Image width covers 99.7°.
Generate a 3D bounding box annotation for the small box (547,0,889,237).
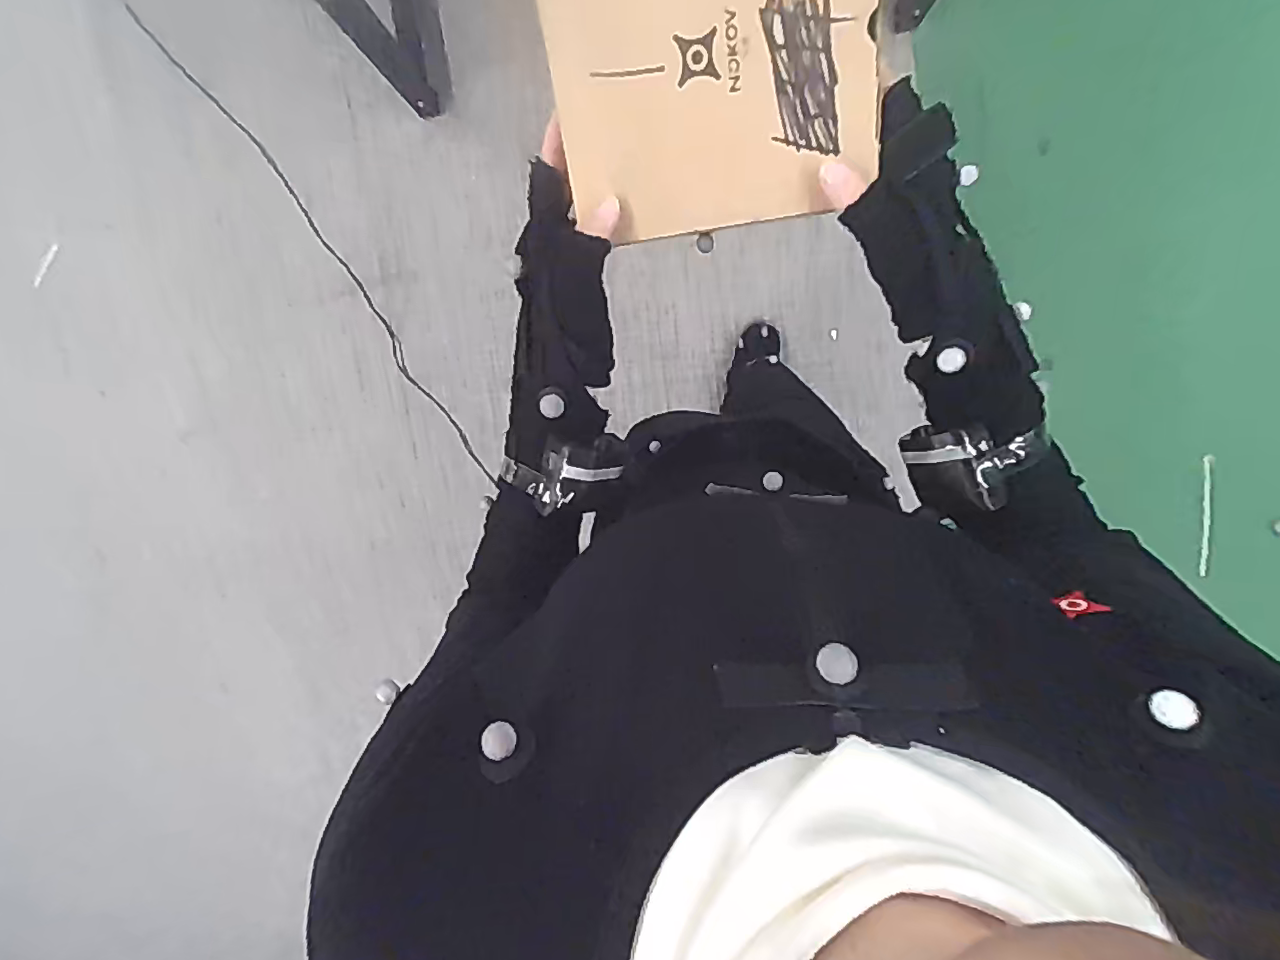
[{"bbox_3d":[0.044,-0.264,0.356,0.179,0.176,0.168,-6,115,6],"label":"small box"}]
